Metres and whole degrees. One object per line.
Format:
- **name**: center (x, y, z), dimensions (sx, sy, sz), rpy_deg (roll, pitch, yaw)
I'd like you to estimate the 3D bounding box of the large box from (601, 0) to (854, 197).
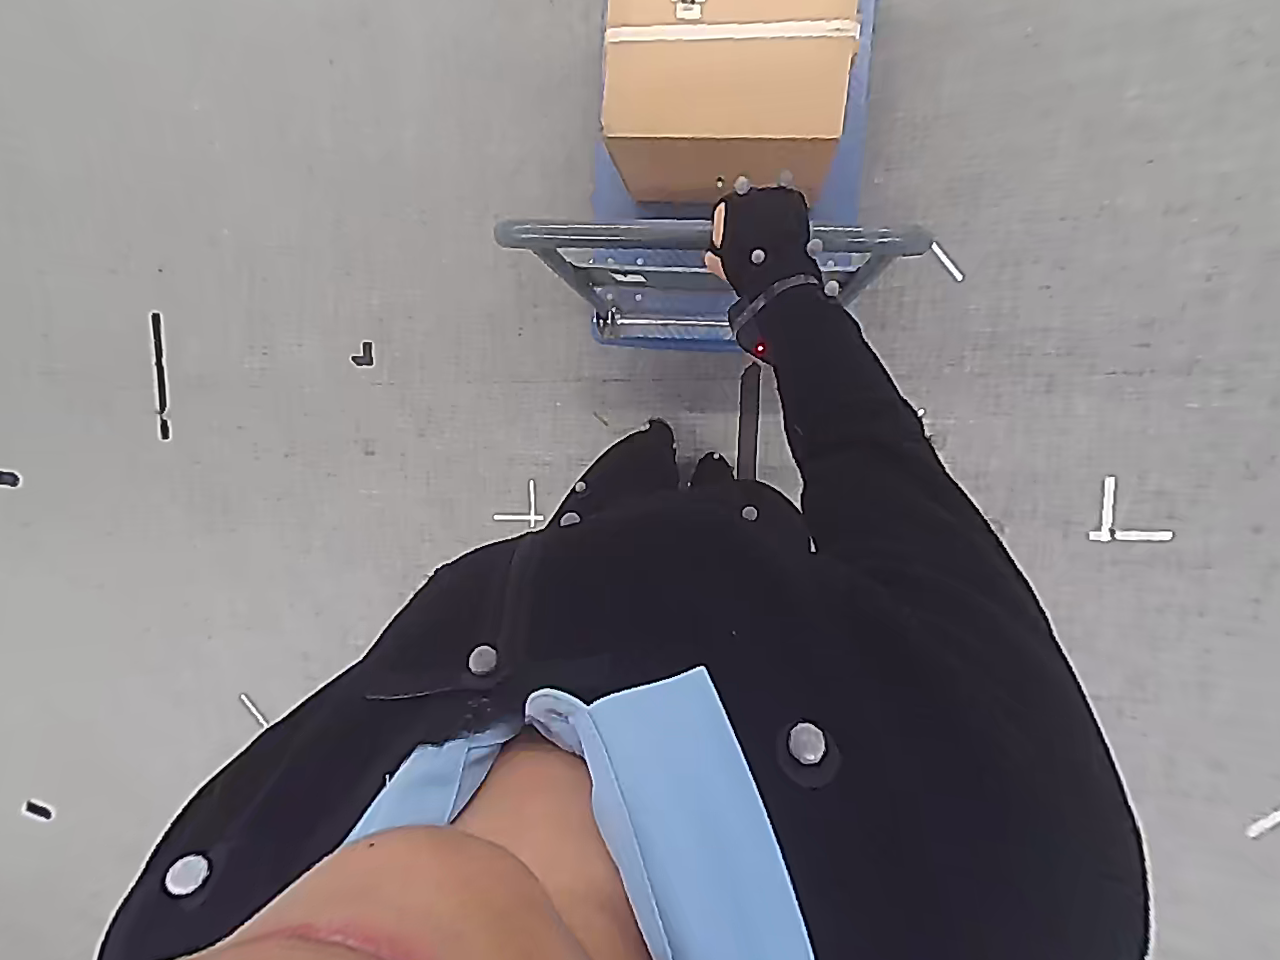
- **large box**: center (0.165, -0.749, 1.017), dimensions (0.408, 0.320, 0.320), rpy_deg (6, 98, 10)
